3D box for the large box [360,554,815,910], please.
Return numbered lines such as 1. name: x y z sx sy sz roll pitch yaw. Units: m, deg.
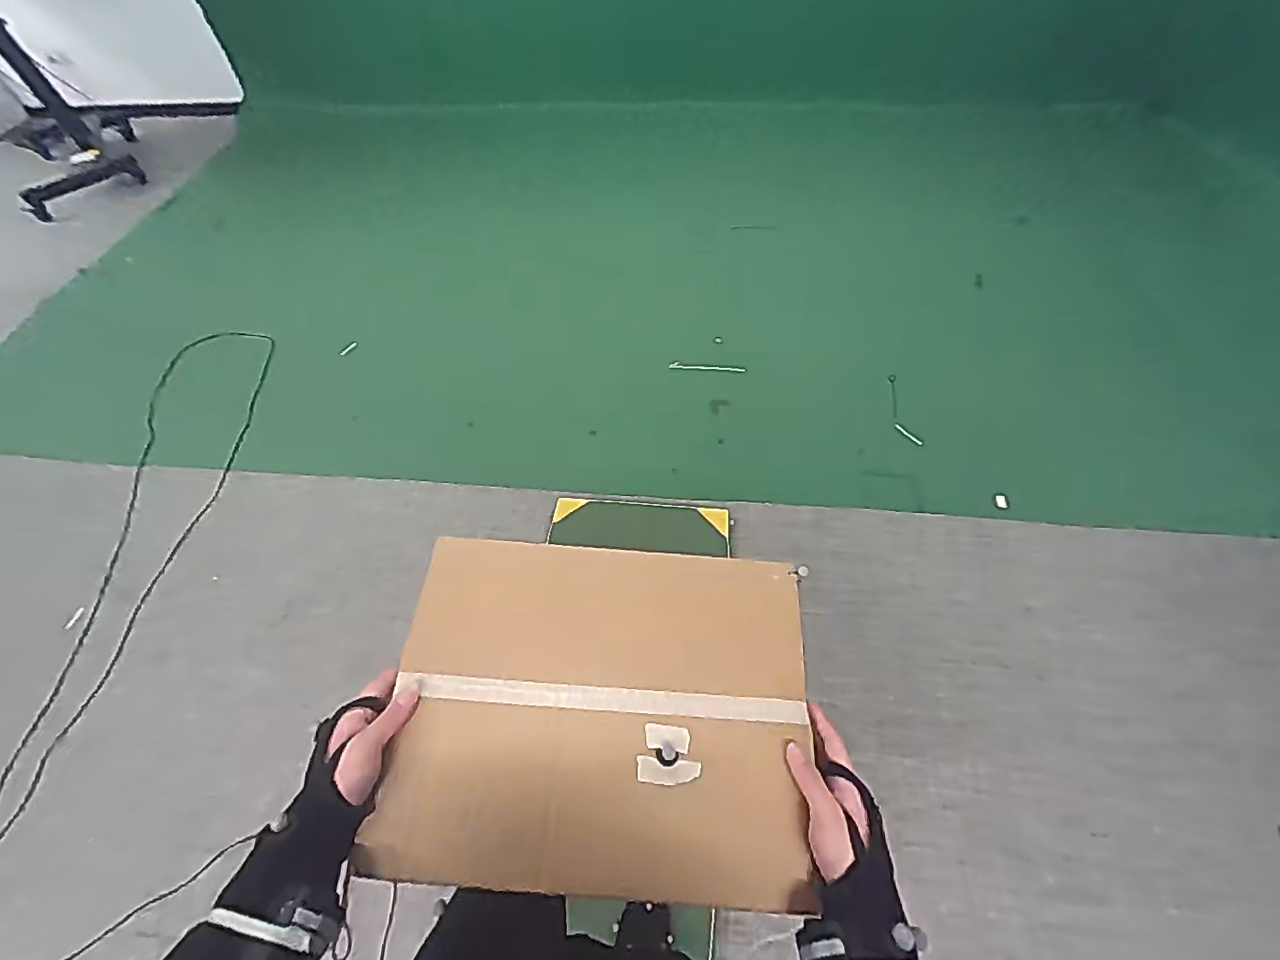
1. large box: -0.045 0.302 0.668 0.408 0.320 0.320 4 61 0
